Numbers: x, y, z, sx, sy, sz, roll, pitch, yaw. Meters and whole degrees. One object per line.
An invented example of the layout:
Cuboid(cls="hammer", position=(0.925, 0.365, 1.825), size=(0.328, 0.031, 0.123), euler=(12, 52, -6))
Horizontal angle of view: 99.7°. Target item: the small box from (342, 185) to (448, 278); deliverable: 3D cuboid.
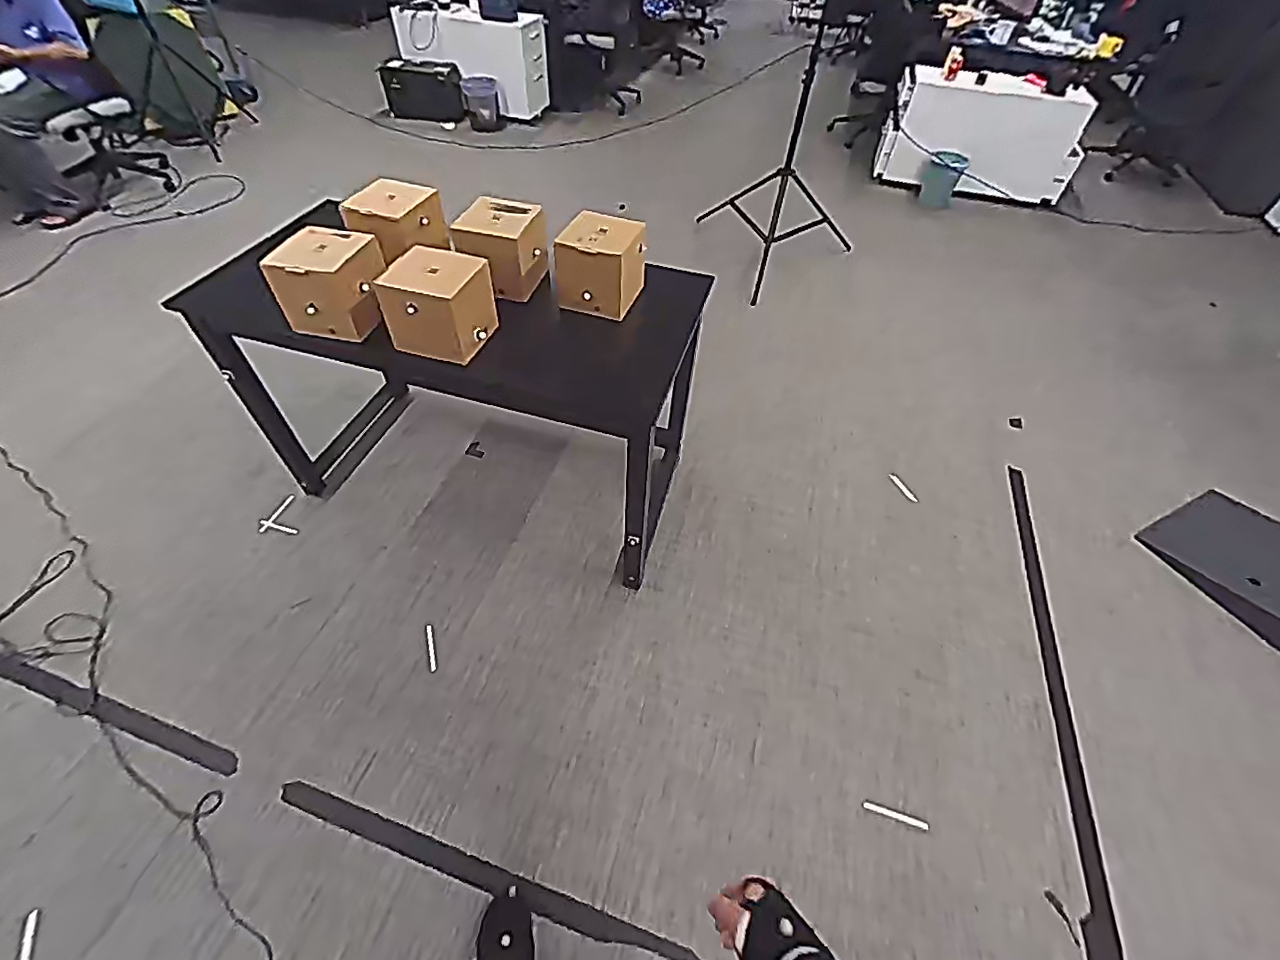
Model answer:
Cuboid(cls="small box", position=(-0.616, -0.624, 1.388), size=(0.168, 0.176, 0.179), euler=(15, 51, 10))

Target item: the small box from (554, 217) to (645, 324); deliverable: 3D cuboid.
Cuboid(cls="small box", position=(-0.096, -0.511, 1.318), size=(0.168, 0.176, 0.179), euler=(15, 51, 11))

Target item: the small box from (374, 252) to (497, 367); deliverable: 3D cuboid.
Cuboid(cls="small box", position=(-0.435, -0.370, 1.183), size=(0.179, 0.176, 0.168), euler=(14, 51, 8))

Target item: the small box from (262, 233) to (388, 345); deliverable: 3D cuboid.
Cuboid(cls="small box", position=(-0.684, -0.427, 1.215), size=(0.168, 0.176, 0.179), euler=(10, 50, 5))
